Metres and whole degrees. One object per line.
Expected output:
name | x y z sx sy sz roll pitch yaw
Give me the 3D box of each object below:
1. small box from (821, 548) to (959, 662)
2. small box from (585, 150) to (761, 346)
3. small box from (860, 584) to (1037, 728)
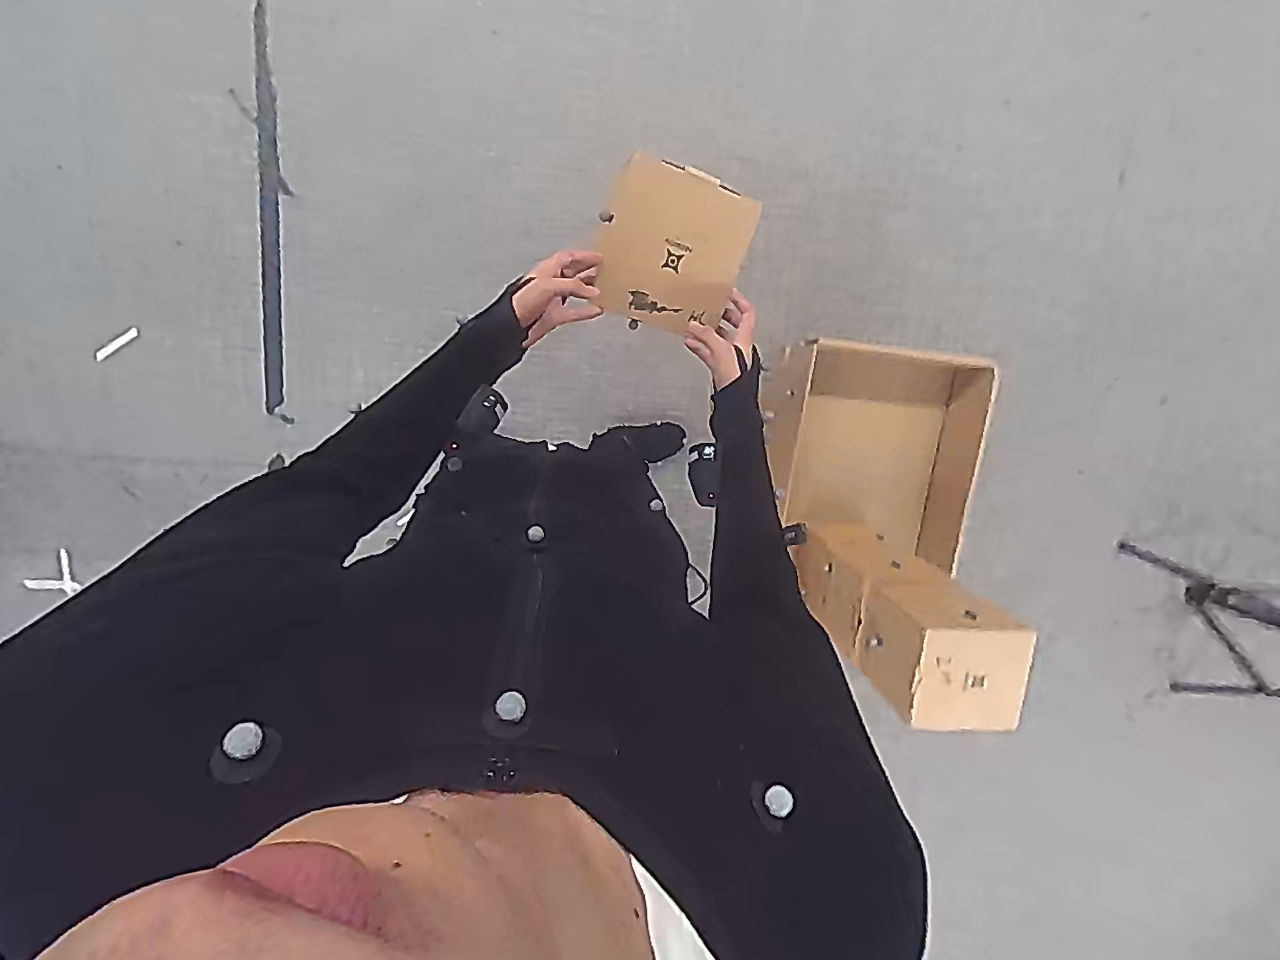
small box | 0.470 0.237 1.046 0.179 0.176 0.168 3 102 -5
small box | 0.028 -0.298 0.716 0.168 0.176 0.179 15 110 -15
small box | 0.492 0.280 0.888 0.179 0.176 0.168 3 102 -4
